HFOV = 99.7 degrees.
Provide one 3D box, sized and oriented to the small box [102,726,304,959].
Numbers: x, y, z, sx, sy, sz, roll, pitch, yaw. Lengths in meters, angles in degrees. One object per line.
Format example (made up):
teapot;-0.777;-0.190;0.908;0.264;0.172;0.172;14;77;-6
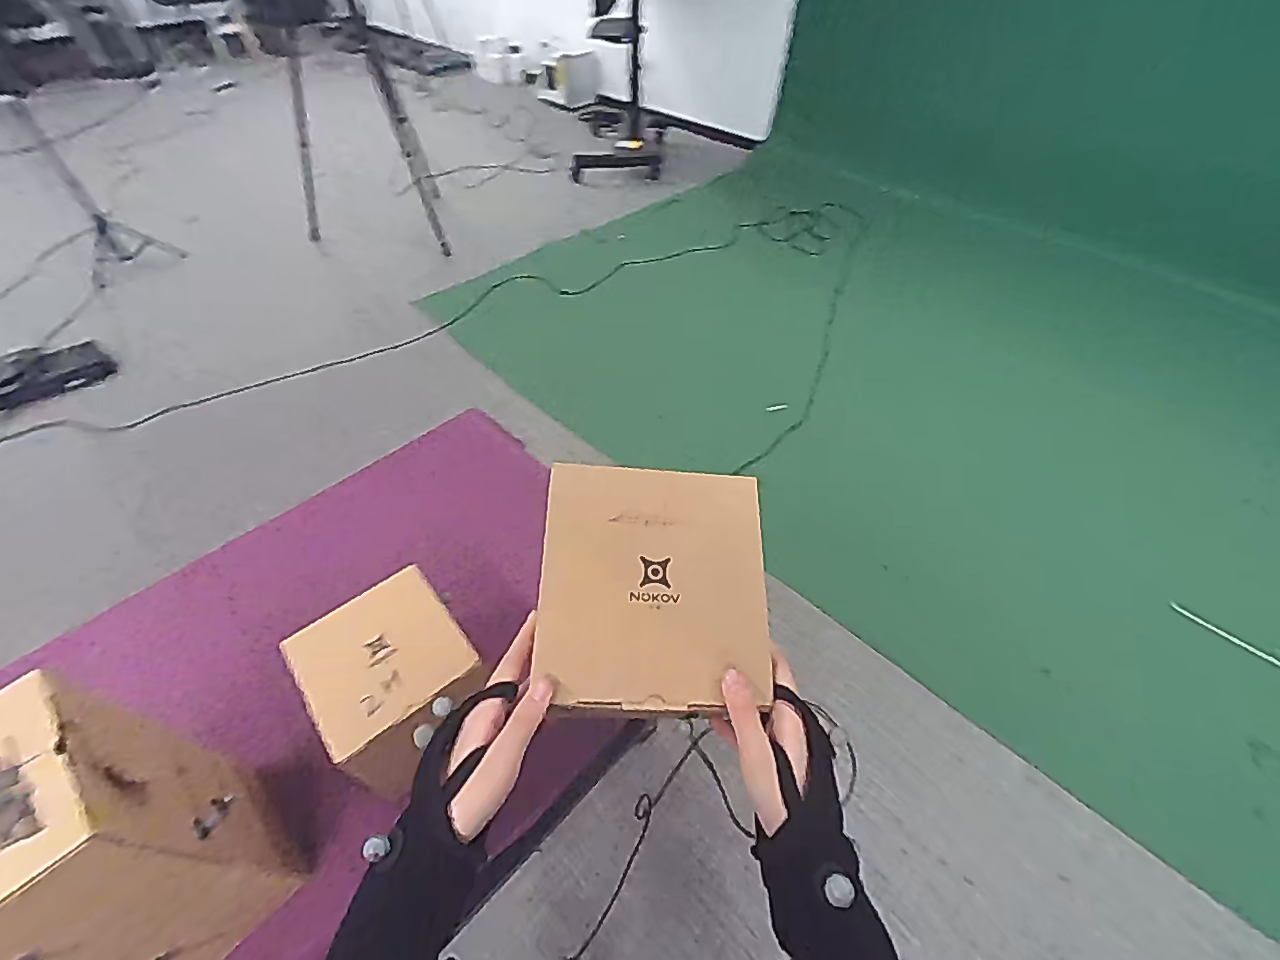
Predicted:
small box;-0.491;0.397;0.547;0.168;0.176;0.179;35;58;27

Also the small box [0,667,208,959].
small box;-0.487;0.290;0.421;0.168;0.176;0.179;36;59;28

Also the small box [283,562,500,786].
small box;-0.300;0.244;0.679;0.168;0.176;0.179;-34;57;-25
